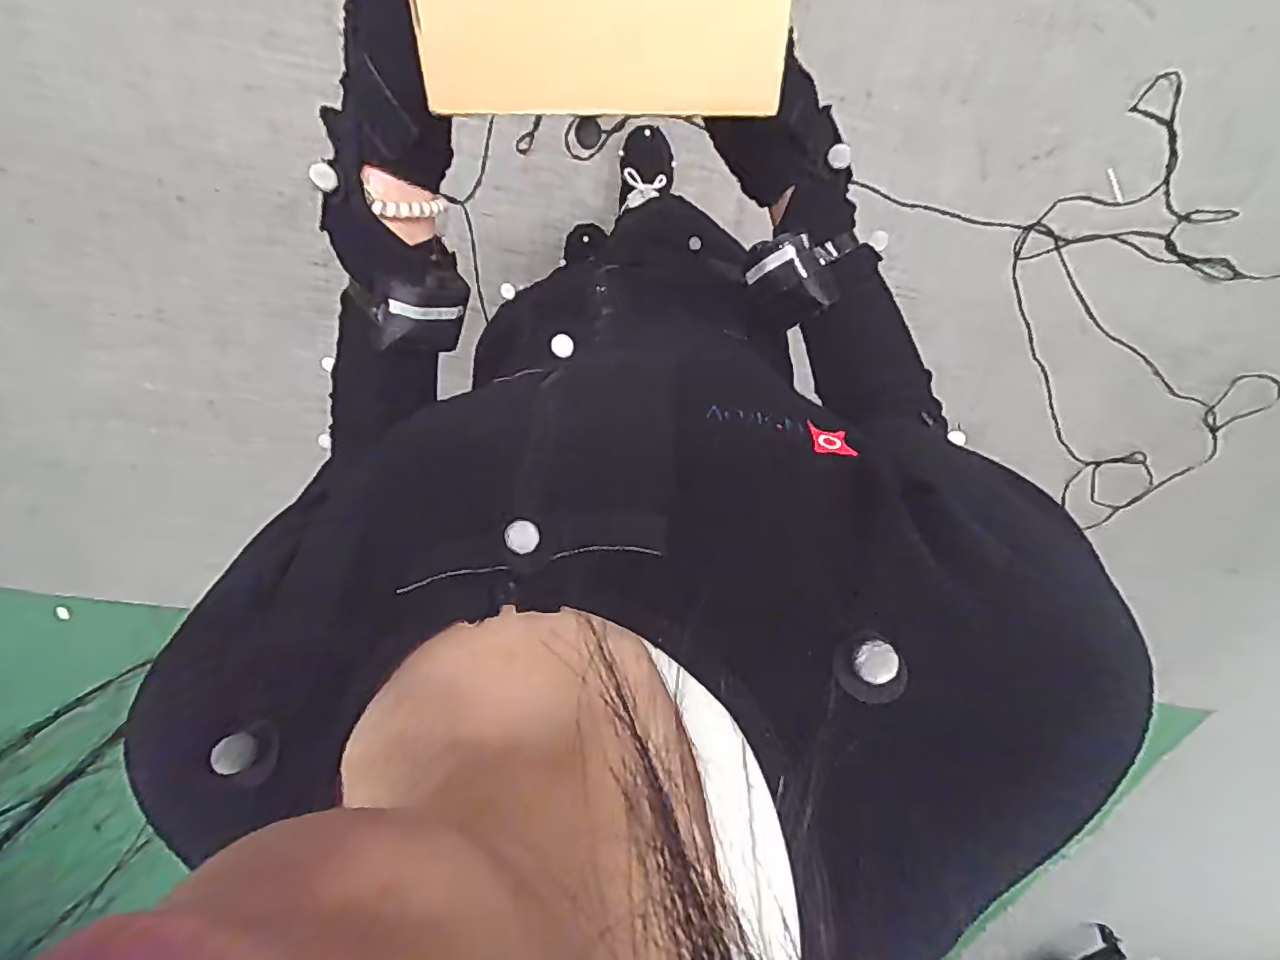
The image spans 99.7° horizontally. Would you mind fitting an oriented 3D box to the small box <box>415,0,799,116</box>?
[{"bbox_3d":[-0.025,-0.294,0.278,0.179,0.176,0.168,-6,128,-8],"label":"small box"}]
